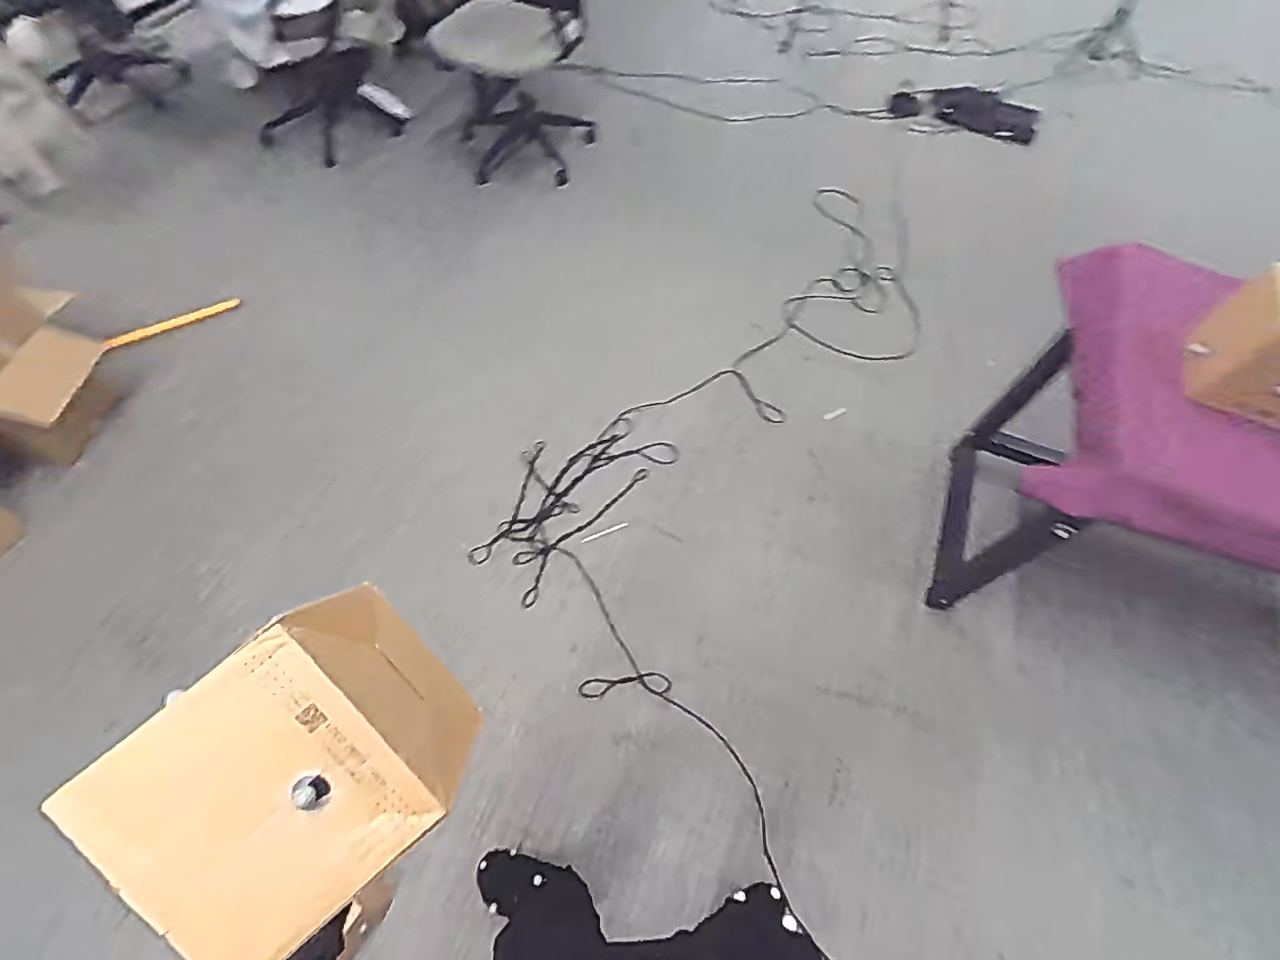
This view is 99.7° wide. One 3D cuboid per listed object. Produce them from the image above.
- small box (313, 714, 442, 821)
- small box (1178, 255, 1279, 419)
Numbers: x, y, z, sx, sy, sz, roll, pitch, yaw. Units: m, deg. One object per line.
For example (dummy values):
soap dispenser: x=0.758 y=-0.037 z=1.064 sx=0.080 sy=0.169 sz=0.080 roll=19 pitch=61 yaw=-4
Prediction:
small box: x=-0.571 y=0.640 z=1.208 sx=0.179 sy=0.176 sz=0.168 roll=13 pitch=61 yaw=7
small box: x=1.052 y=-0.231 z=0.897 sx=0.168 sy=0.176 sz=0.179 roll=22 pitch=63 yaw=12
